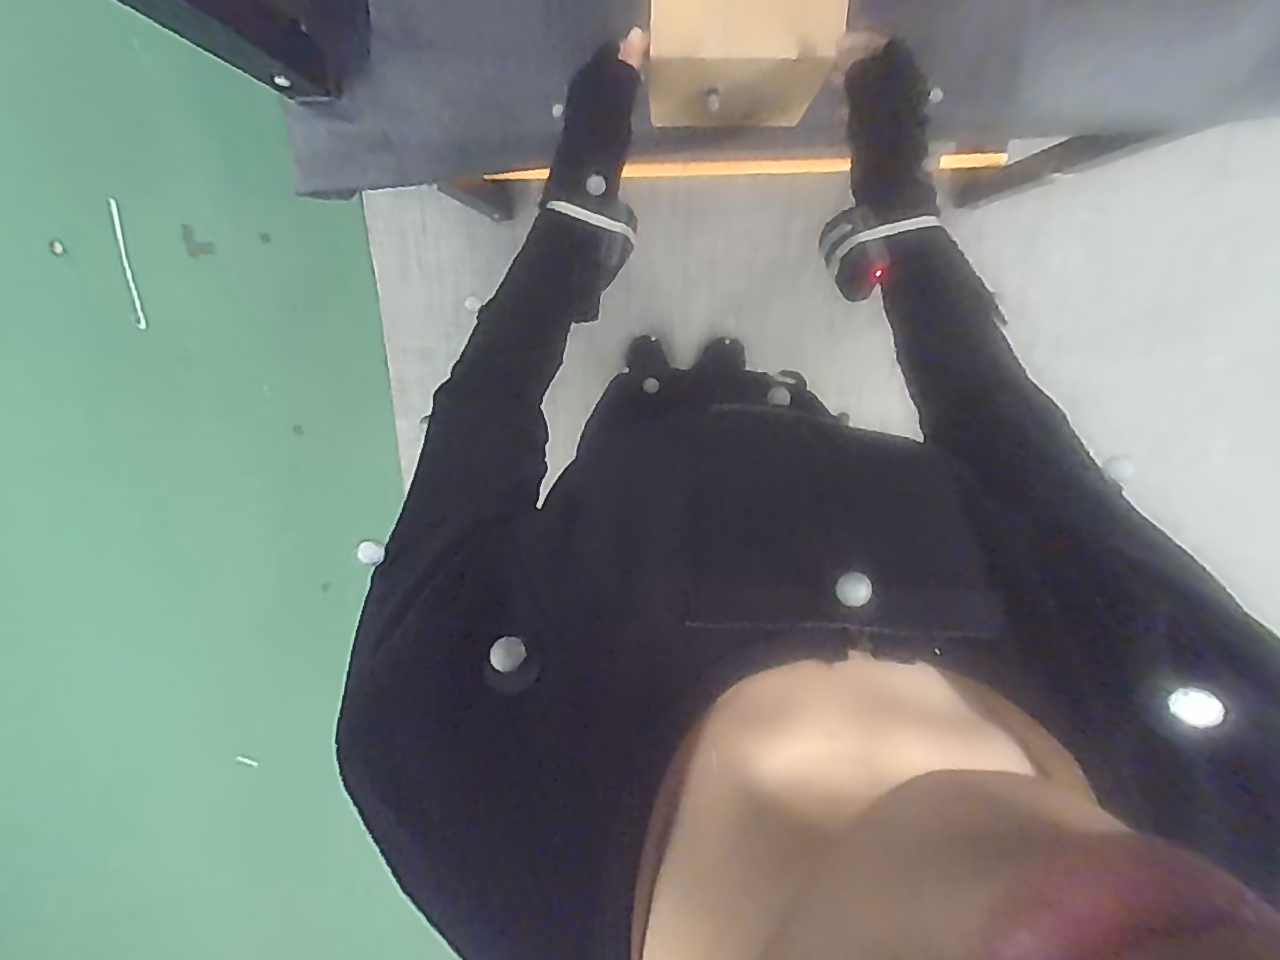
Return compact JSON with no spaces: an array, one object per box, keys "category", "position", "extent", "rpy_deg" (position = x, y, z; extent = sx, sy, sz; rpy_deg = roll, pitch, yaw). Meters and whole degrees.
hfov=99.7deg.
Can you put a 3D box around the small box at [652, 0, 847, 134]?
[{"category":"small box","position":[0.099,-0.458,0.525],"extent":[0.168,0.176,0.179],"rpy_deg":[1,105,2]}]
